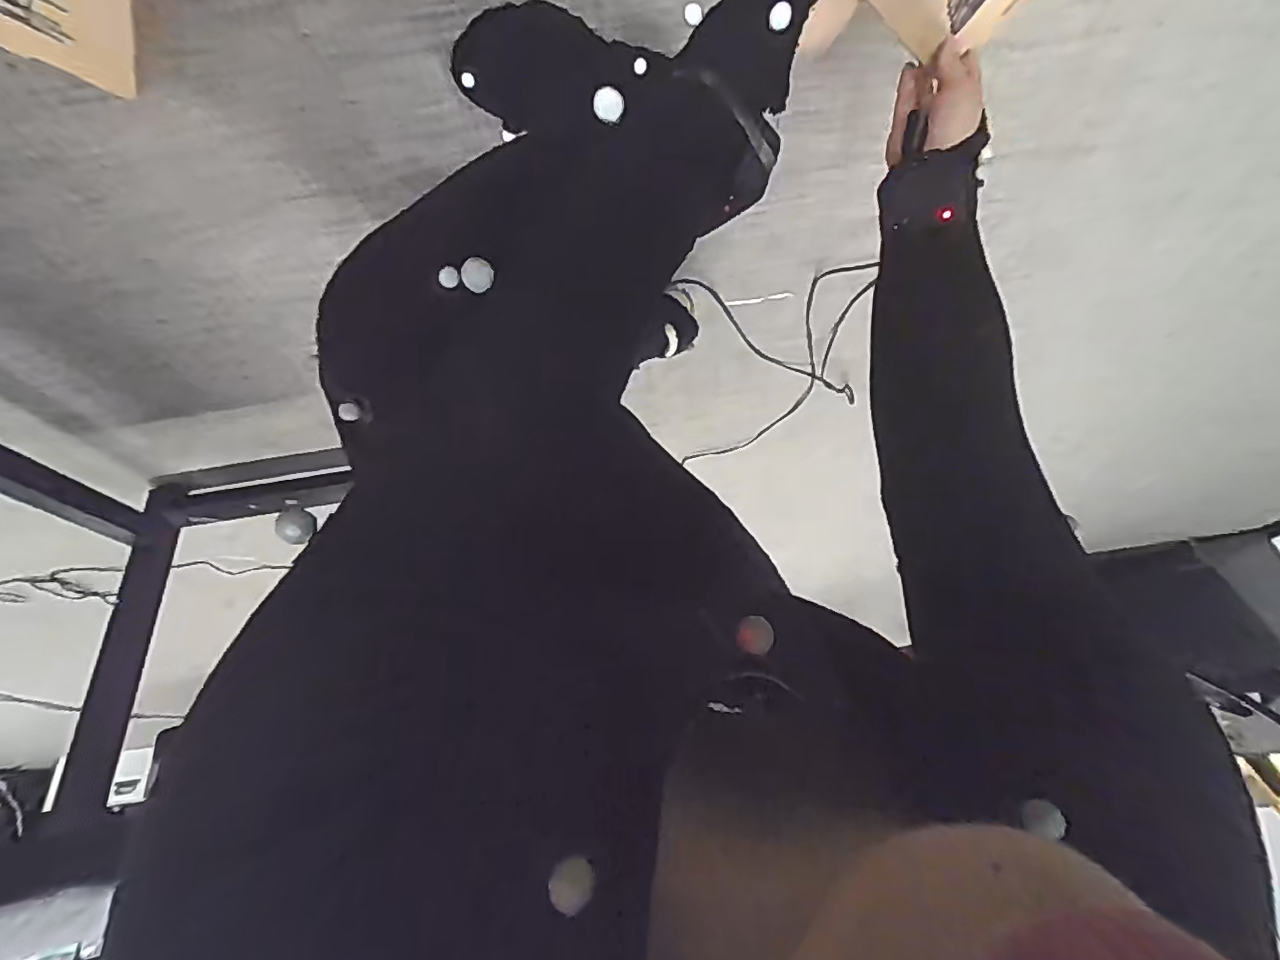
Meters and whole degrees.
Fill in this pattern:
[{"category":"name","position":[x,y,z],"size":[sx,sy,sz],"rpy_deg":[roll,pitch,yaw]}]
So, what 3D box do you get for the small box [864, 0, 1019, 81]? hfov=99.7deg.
[{"category":"small box","position":[0.247,-0.496,0.444],"size":[0.179,0.176,0.168],"rpy_deg":[13,145,-34]}]
